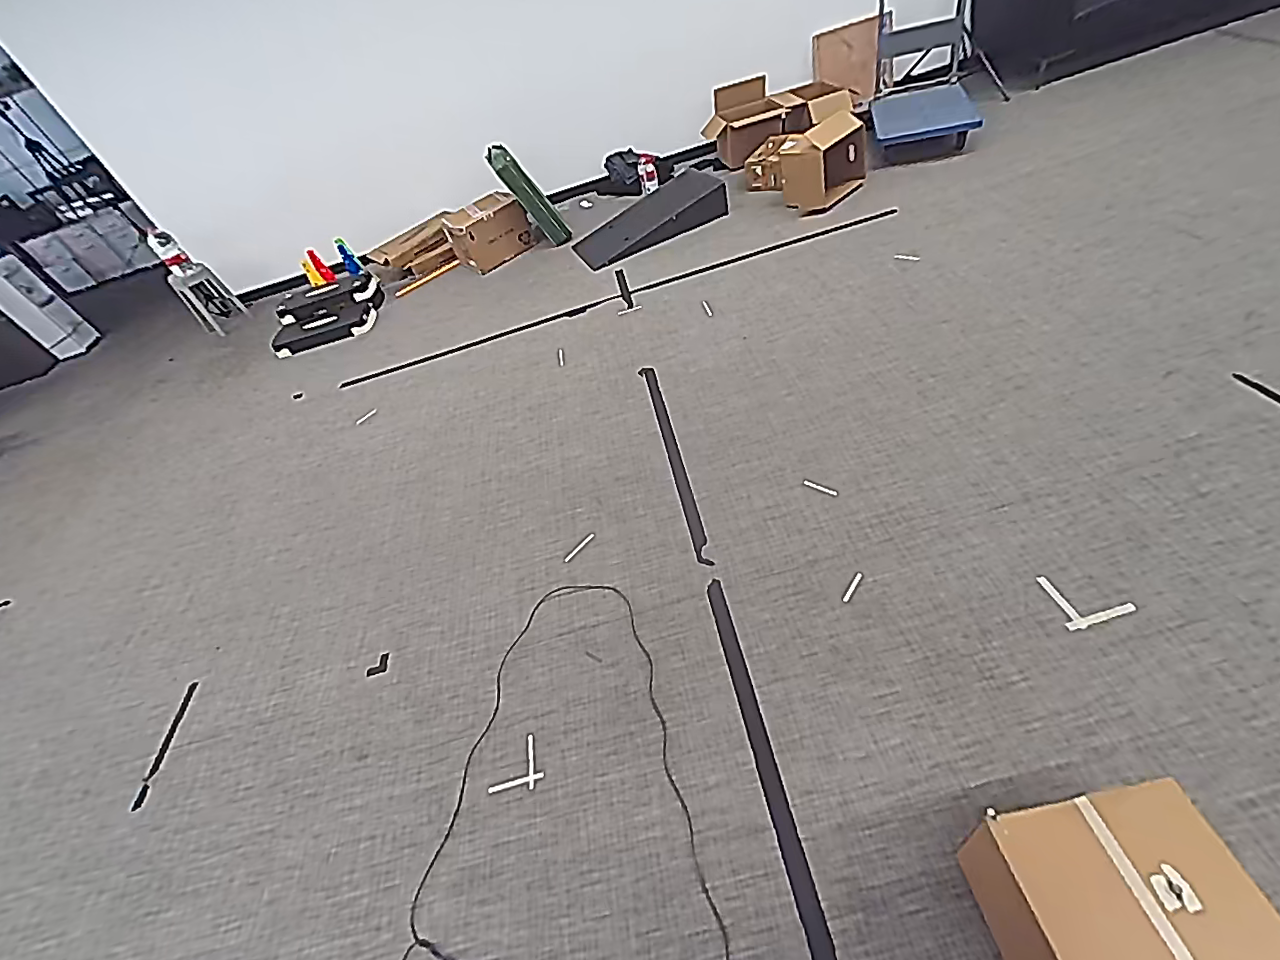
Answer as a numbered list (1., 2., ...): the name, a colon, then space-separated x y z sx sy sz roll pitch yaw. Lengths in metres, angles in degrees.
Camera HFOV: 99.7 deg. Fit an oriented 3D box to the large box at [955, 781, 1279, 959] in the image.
1. large box: 0.797 0.786 0.884 0.320 0.320 0.408 -14 43 3
